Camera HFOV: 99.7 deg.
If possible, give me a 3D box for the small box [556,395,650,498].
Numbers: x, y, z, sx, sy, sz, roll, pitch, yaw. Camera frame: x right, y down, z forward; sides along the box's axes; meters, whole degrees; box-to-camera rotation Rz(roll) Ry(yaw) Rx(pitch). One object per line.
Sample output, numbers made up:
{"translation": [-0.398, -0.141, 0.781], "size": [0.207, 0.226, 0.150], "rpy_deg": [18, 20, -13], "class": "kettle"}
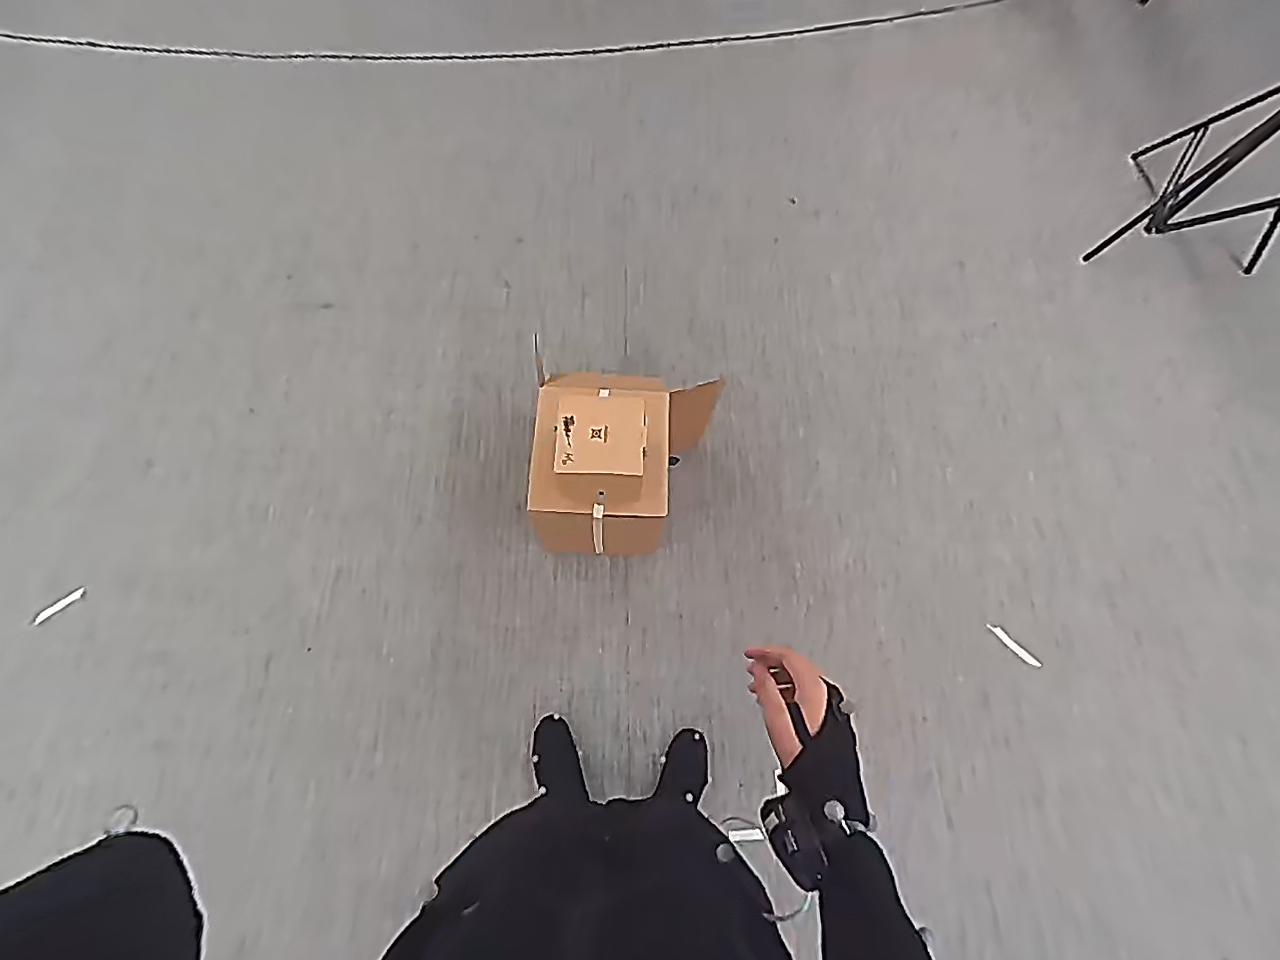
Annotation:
{"translation": [-0.074, -0.063, 1.129], "size": [0.179, 0.176, 0.168], "rpy_deg": [3, 72, -2], "class": "small box"}
